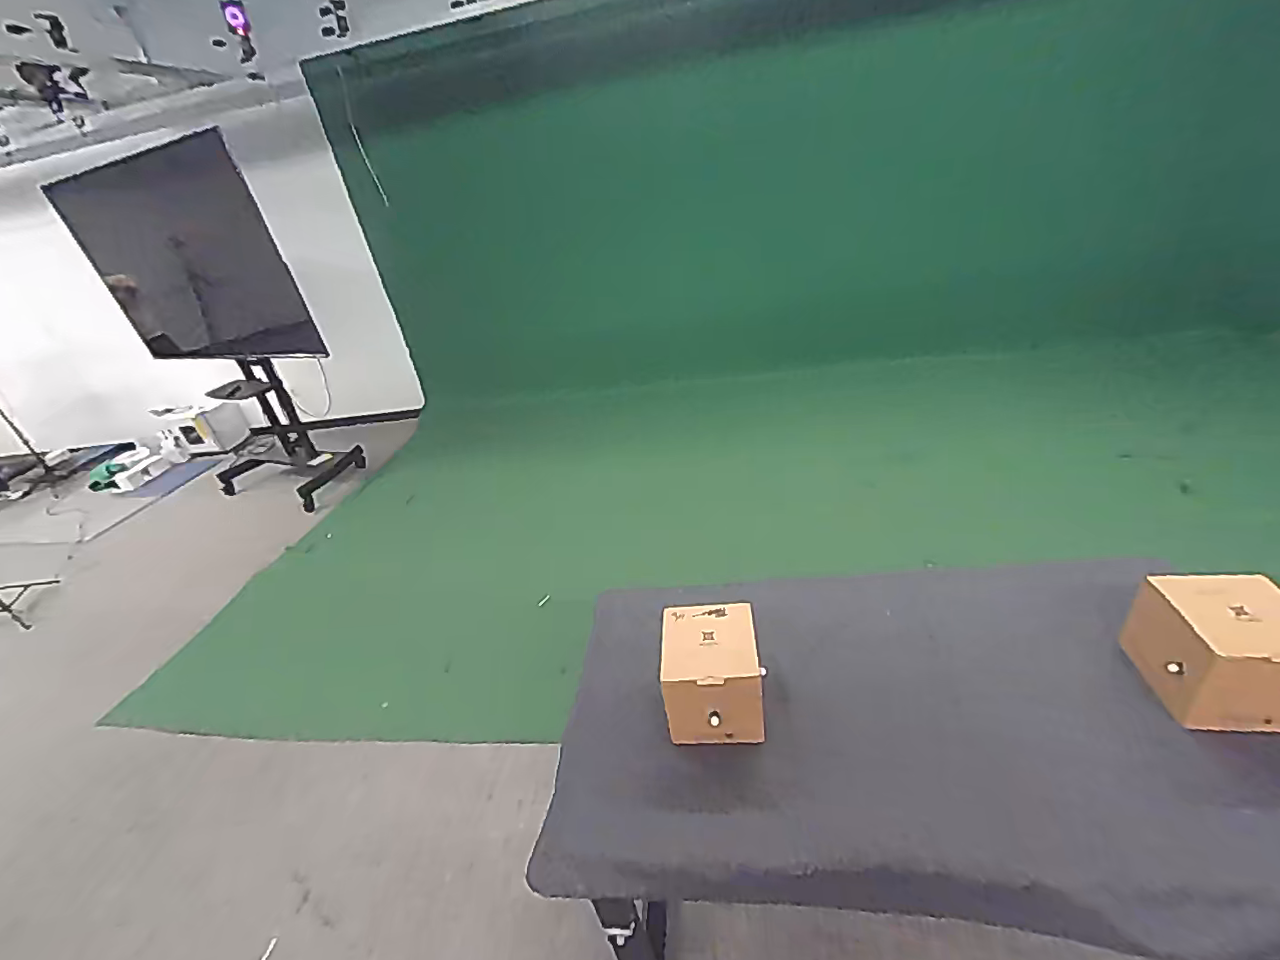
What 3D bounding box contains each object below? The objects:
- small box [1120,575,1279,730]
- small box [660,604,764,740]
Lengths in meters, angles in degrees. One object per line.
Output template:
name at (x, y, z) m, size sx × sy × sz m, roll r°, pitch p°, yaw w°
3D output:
small box at (0.927, 0.273, 0.863) m, size 0.168 × 0.176 × 0.179 m, roll -3°, pitch 29°, yaw 12°
small box at (0.133, 0.354, 0.989) m, size 0.168 × 0.176 × 0.179 m, roll -5°, pitch 30°, yaw 8°
